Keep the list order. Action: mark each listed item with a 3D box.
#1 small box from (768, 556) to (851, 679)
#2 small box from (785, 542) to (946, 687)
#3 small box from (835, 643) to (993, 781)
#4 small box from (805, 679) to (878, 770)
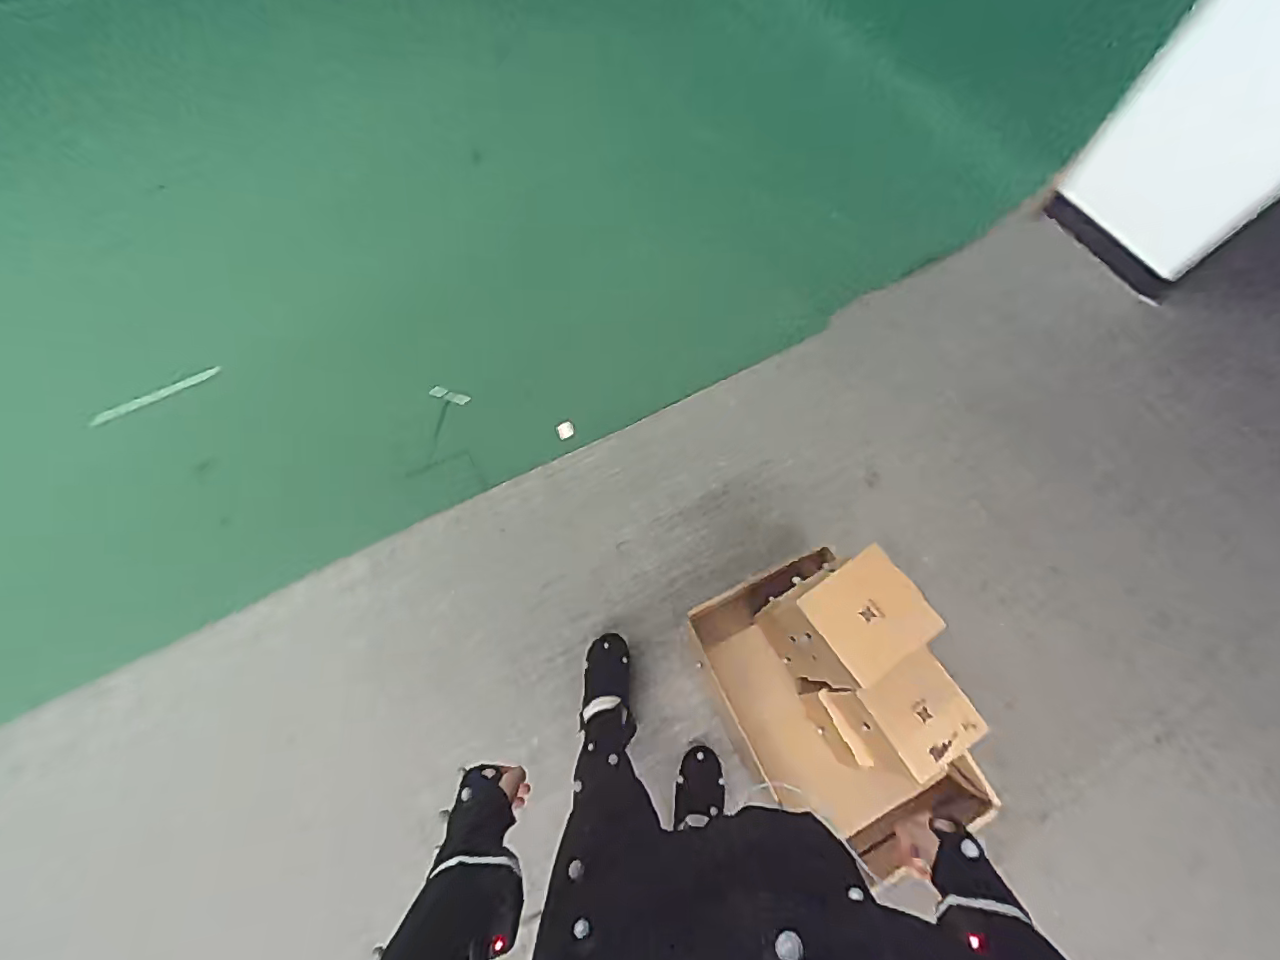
[{"bbox_3d":[0.382,0.280,1.085,0.168,0.176,0.179,-29,70,-8],"label":"small box"},{"bbox_3d":[0.369,0.237,0.928,0.179,0.176,0.168,-33,72,-10],"label":"small box"},{"bbox_3d":[0.499,0.435,1.020,0.168,0.176,0.179,-29,68,-9],"label":"small box"},{"bbox_3d":[0.487,0.498,1.172,0.179,0.176,0.168,-25,68,-7],"label":"small box"}]
